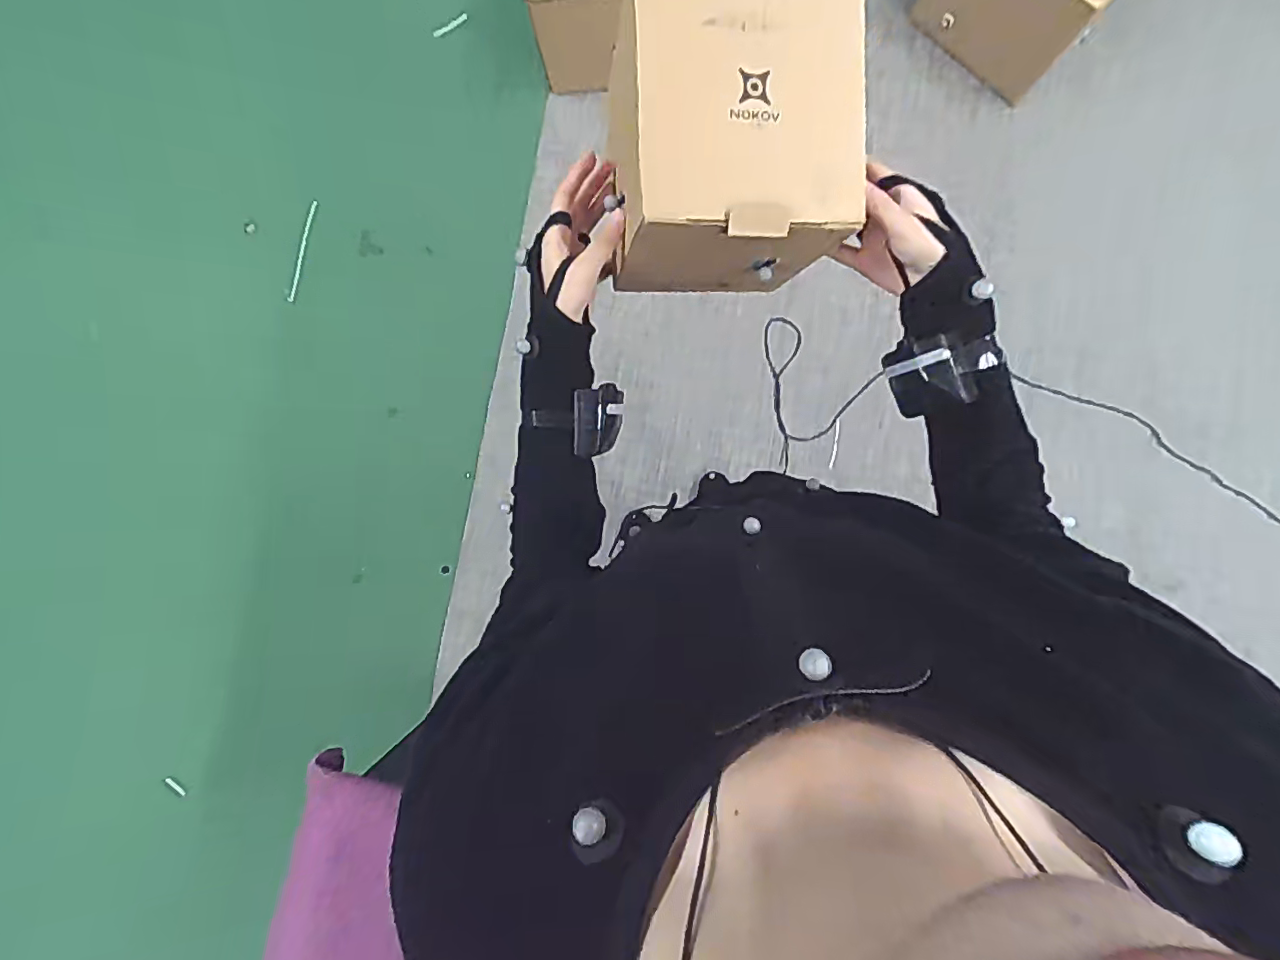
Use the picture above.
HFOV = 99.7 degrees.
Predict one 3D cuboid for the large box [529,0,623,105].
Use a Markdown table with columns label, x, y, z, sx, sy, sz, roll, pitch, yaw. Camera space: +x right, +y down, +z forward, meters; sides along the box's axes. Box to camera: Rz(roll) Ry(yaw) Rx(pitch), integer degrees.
| label | x | y | z | sx | sy | sz | roll | pitch | yaw |
| --- | --- | --- | --- | --- | --- | --- | --- | --- | --- |
| large box | -0.071 | -1.297 | 1.475 | 0.408 | 0.320 | 0.320 | -3 | 85 | 4 |

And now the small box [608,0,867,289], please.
| label | x | y | z | sx | sy | sz | roll | pitch | yaw |
| --- | --- | --- | --- | --- | --- | --- | --- | --- | --- |
| small box | 0.064 | -0.266 | 0.443 | 0.168 | 0.176 | 0.179 | -2 | 92 | -9 |
